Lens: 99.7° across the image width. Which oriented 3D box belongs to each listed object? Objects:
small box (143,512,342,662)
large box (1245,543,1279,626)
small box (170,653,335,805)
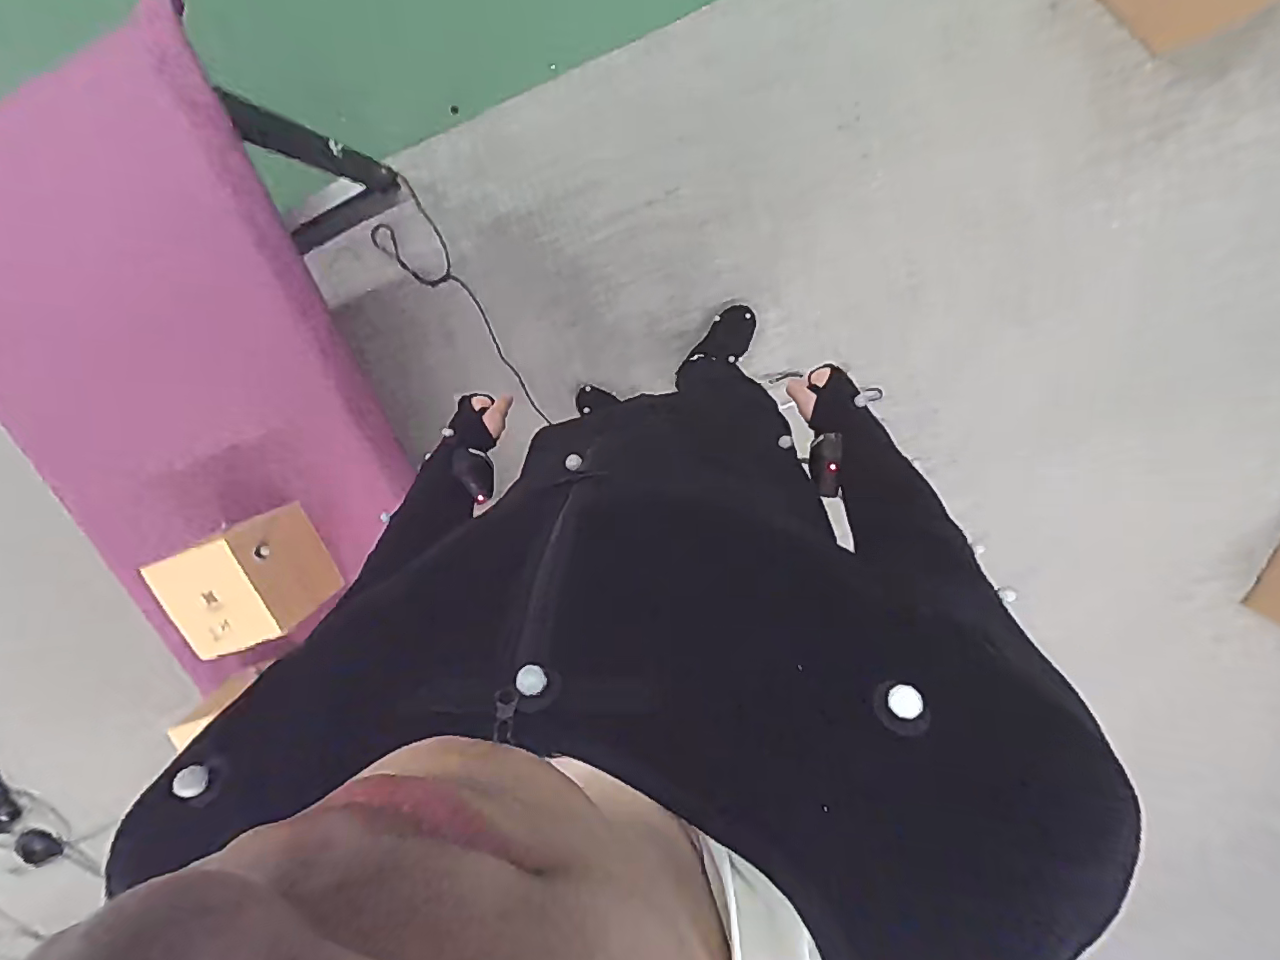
[{"bbox_3d":[-0.653,0.168,0.911,0.168,0.176,0.179,-19,105,11],"label":"small box"},{"bbox_3d":[2.006,0.272,1.445,0.320,0.320,0.408,11,108,0],"label":"large box"},{"bbox_3d":[-0.695,0.458,1.010,0.168,0.176,0.179,-19,105,10],"label":"small box"}]
